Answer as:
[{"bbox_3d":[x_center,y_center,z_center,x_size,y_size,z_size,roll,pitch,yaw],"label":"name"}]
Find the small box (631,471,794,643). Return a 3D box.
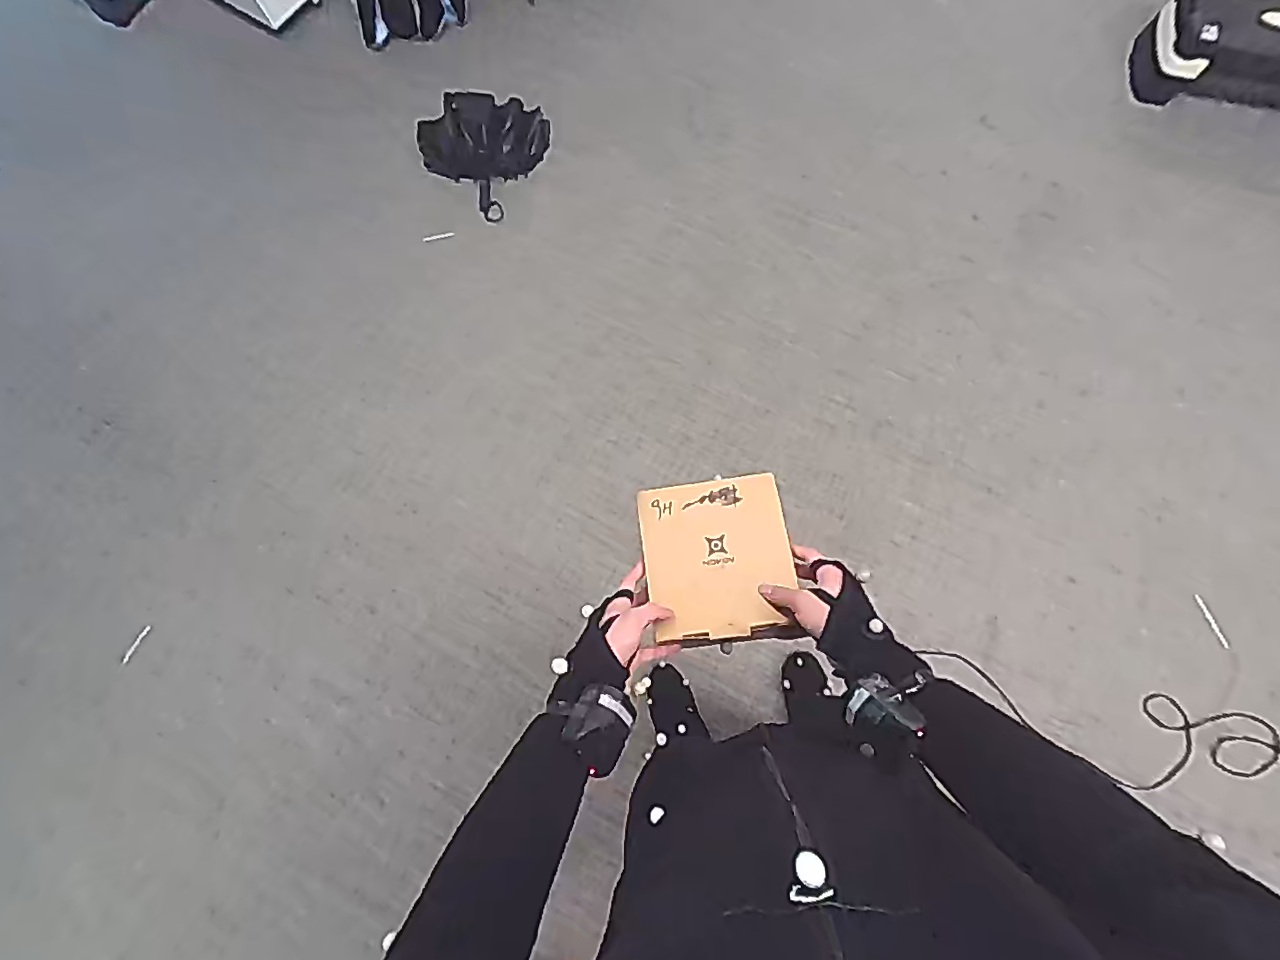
[{"bbox_3d":[0.088,0.107,0.680,0.168,0.176,0.179,-8,69,5],"label":"small box"}]
